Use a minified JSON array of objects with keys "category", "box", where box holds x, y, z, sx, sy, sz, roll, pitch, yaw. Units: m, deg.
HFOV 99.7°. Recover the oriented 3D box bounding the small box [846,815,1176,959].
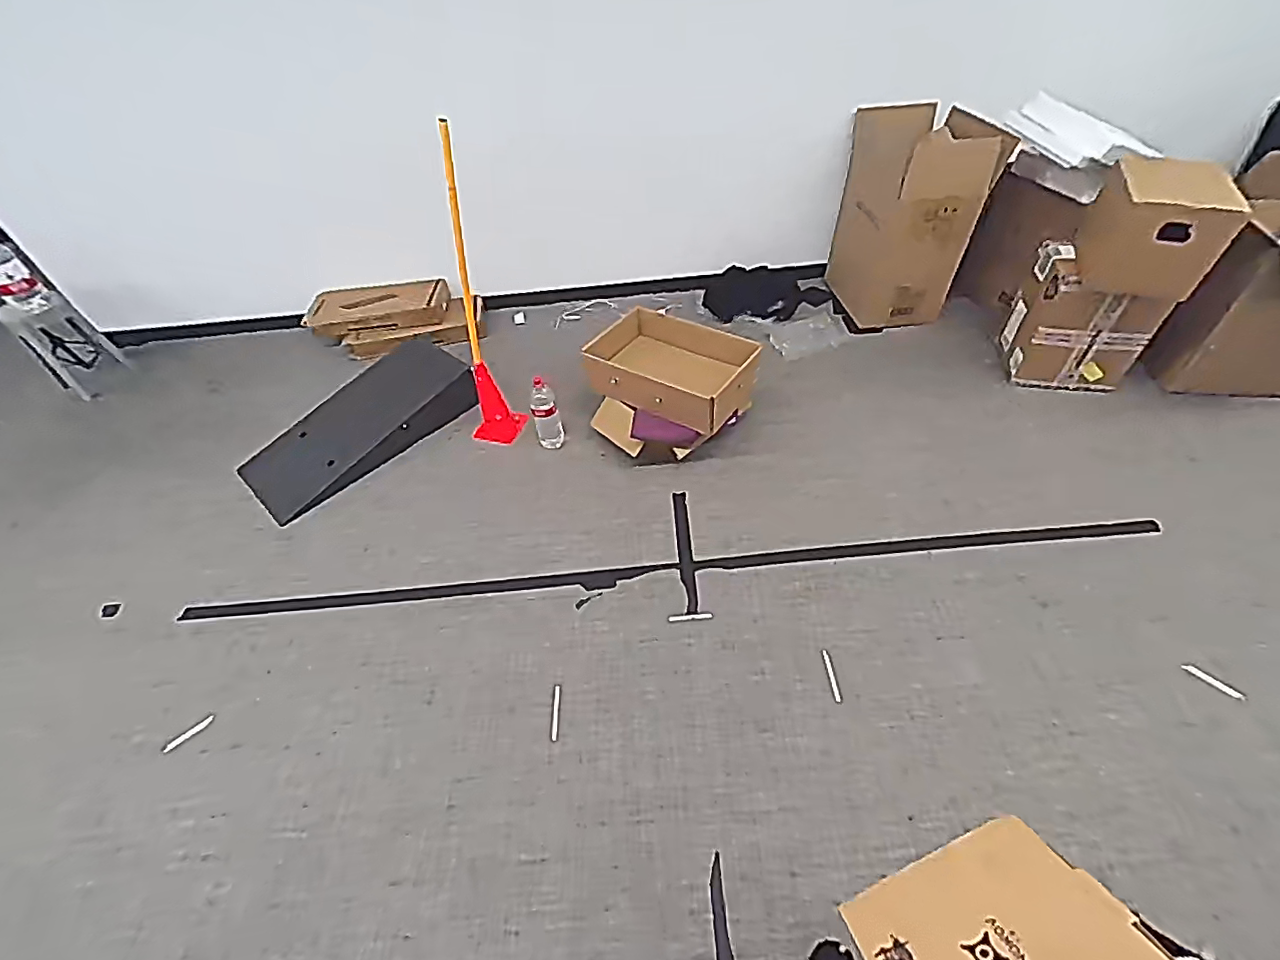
[{"category":"small box","box":[0.295,0.411,0.403,0.179,0.176,0.168,-26,6,-2]}]
